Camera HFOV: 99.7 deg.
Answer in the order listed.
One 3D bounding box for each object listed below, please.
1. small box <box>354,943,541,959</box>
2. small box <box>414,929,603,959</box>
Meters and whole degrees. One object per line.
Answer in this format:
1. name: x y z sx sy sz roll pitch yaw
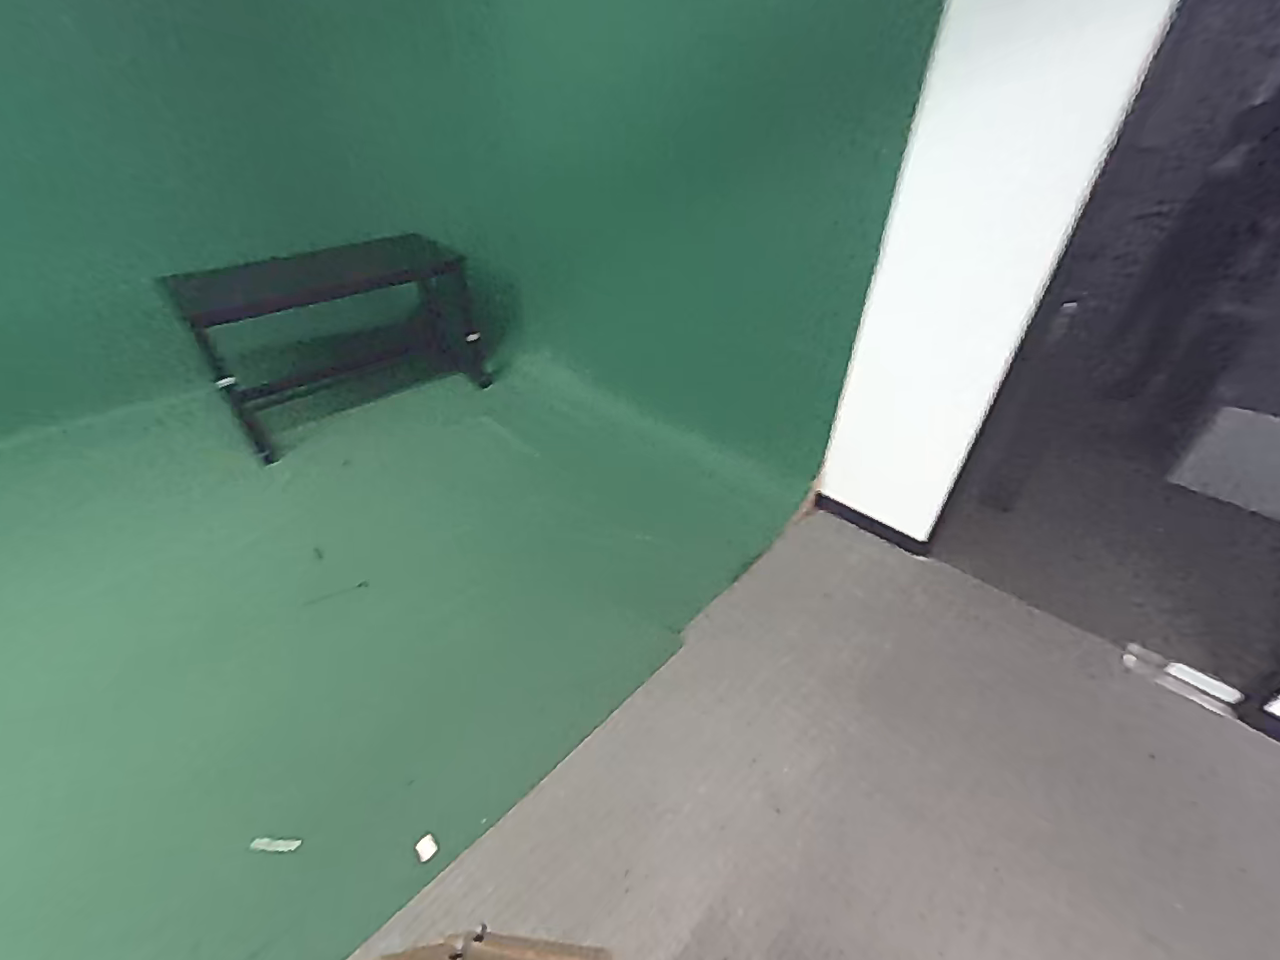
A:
1. small box: -0.129 0.457 0.390 0.179 0.176 0.168 7 53 4
2. small box: -0.133 0.550 0.523 0.179 0.176 0.168 3 52 4
